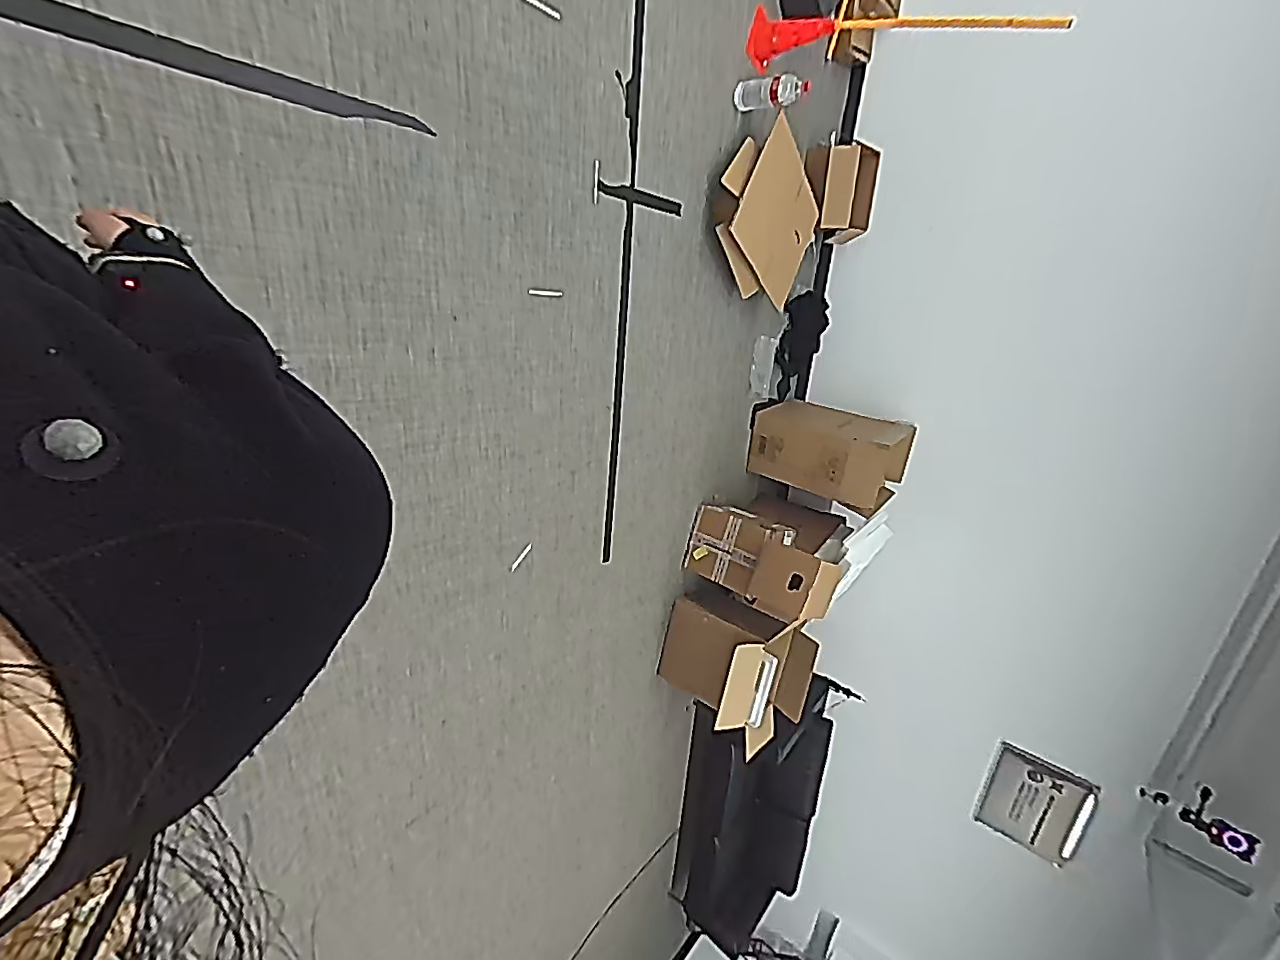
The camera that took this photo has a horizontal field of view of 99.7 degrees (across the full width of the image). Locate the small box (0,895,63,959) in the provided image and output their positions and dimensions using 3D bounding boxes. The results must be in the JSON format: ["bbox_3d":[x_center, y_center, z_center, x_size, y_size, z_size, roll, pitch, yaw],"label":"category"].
[{"bbox_3d":[-1.106,0.865,0.908,0.179,0.176,0.168,-19,119,-47],"label":"small box"}]
